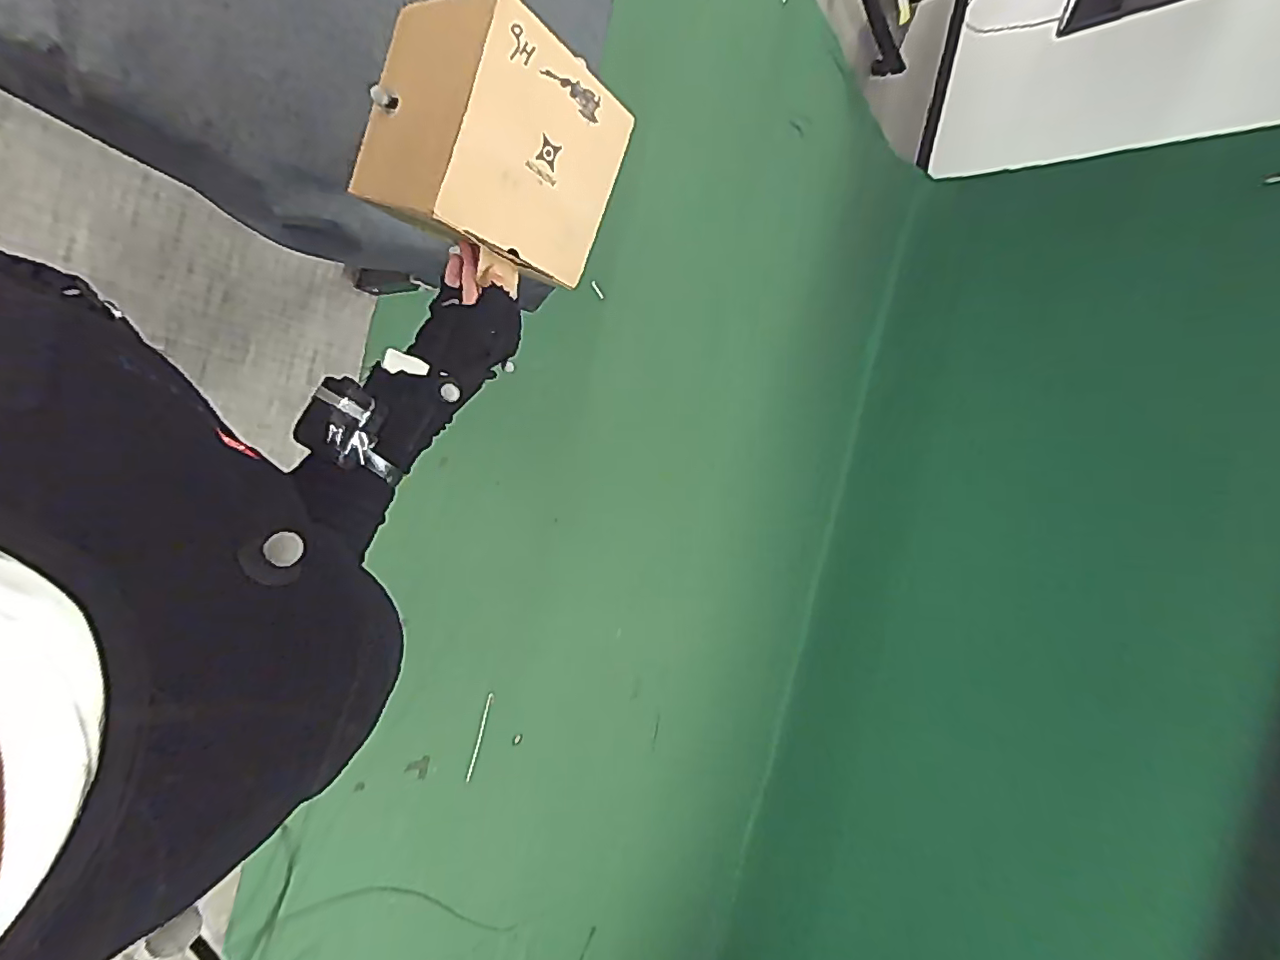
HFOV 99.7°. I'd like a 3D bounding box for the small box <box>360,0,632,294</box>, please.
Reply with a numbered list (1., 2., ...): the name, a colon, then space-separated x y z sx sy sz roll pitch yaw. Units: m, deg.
1. small box: -0.145 -0.311 0.527 0.168 0.176 0.179 8 109 -54
